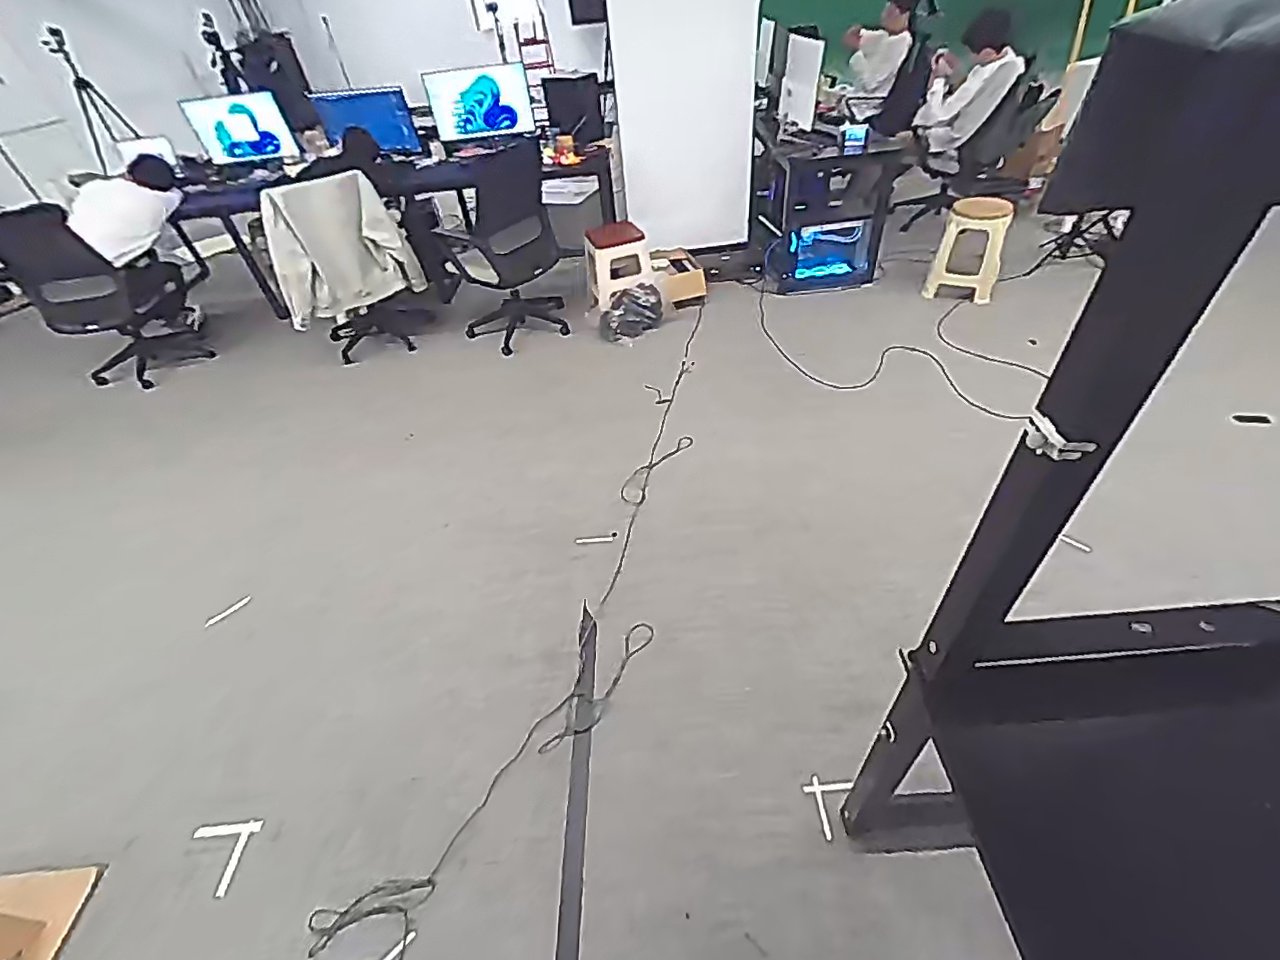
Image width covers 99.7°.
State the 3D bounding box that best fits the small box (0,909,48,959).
[{"bbox_3d":[-1.488,1.051,1.174,0.179,0.176,0.168,-5,44,1],"label":"small box"}]
